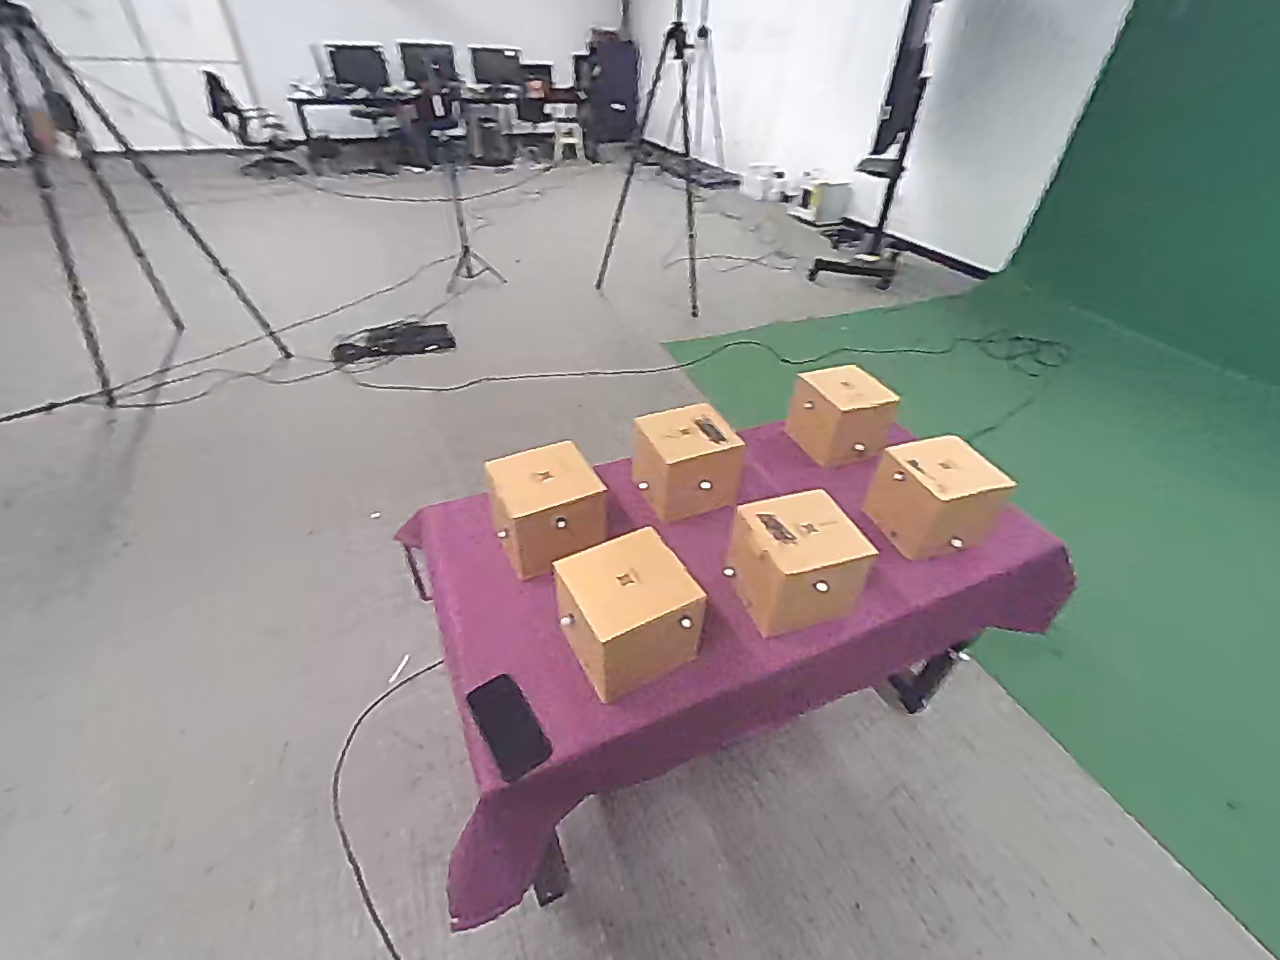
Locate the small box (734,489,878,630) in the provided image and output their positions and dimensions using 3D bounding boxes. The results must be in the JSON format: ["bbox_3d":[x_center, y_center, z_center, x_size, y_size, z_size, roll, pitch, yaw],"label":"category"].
[{"bbox_3d":[0.278,0.142,0.959,0.179,0.176,0.168,-9,42,-16],"label":"small box"}]

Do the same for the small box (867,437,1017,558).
[{"bbox_3d":[0.602,0.035,1.104,0.179,0.176,0.168,-9,42,-14],"label":"small box"}]

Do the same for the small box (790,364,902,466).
[{"bbox_3d":[0.491,-0.160,1.323,0.168,0.176,0.179,-12,44,-16],"label":"small box"}]

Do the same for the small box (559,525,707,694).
[{"bbox_3d":[-0.014,0.207,0.865,0.179,0.176,0.168,-18,44,-24],"label":"small box"}]
